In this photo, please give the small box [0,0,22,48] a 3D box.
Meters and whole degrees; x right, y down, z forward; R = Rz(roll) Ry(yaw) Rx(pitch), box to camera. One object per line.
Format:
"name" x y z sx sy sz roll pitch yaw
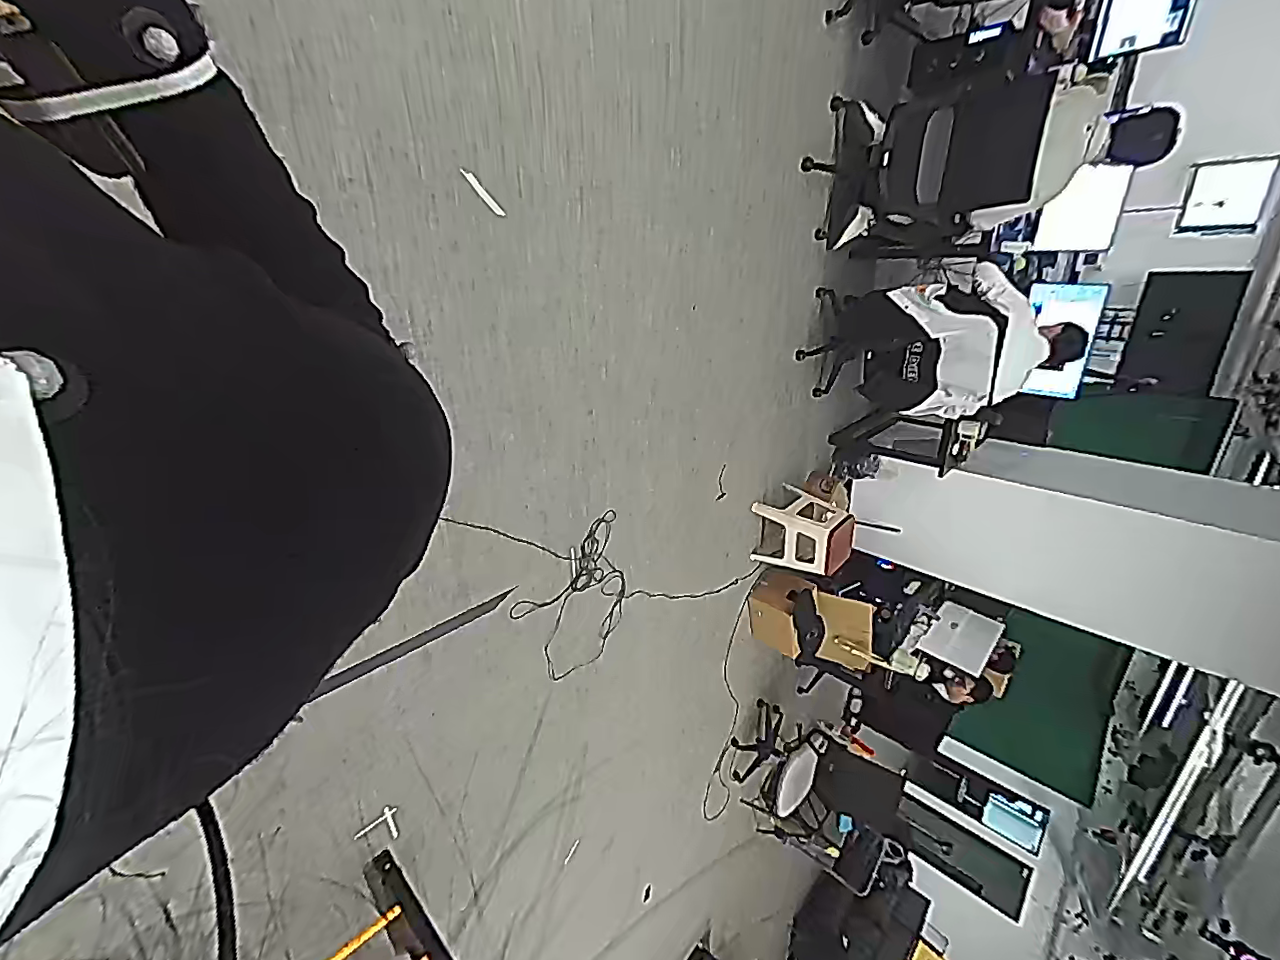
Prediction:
"small box" -0.719 -0.520 0.487 0.179 0.176 0.168 -21 121 -44
